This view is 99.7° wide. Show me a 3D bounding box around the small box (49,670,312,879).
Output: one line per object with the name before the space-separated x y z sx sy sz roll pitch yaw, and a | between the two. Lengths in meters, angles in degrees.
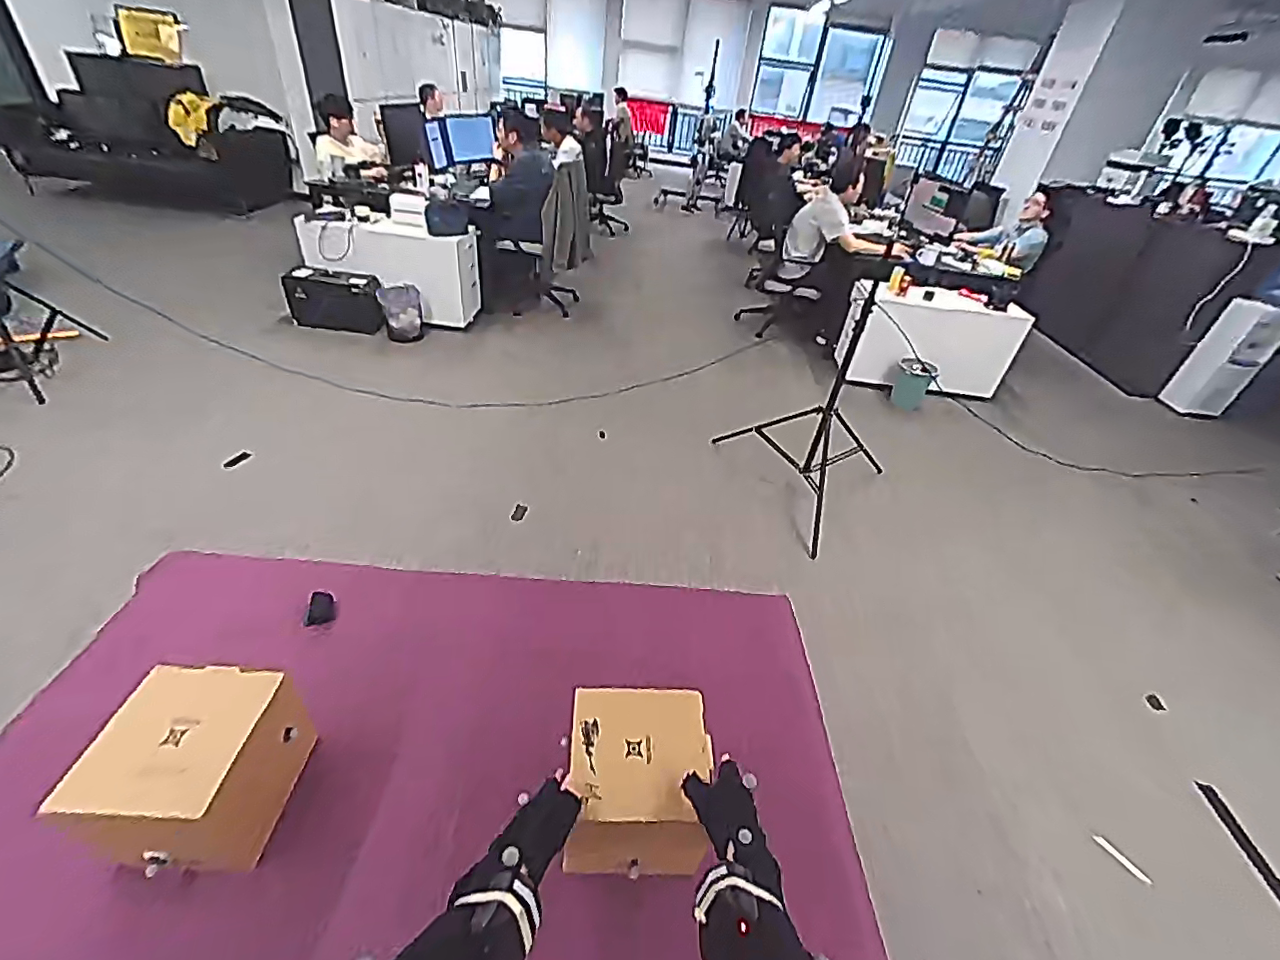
small box | -0.543 0.366 0.679 0.168 0.176 0.179 4 37 -4

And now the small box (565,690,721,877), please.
small box | -0.004 0.404 0.722 0.179 0.176 0.168 4 36 -5
